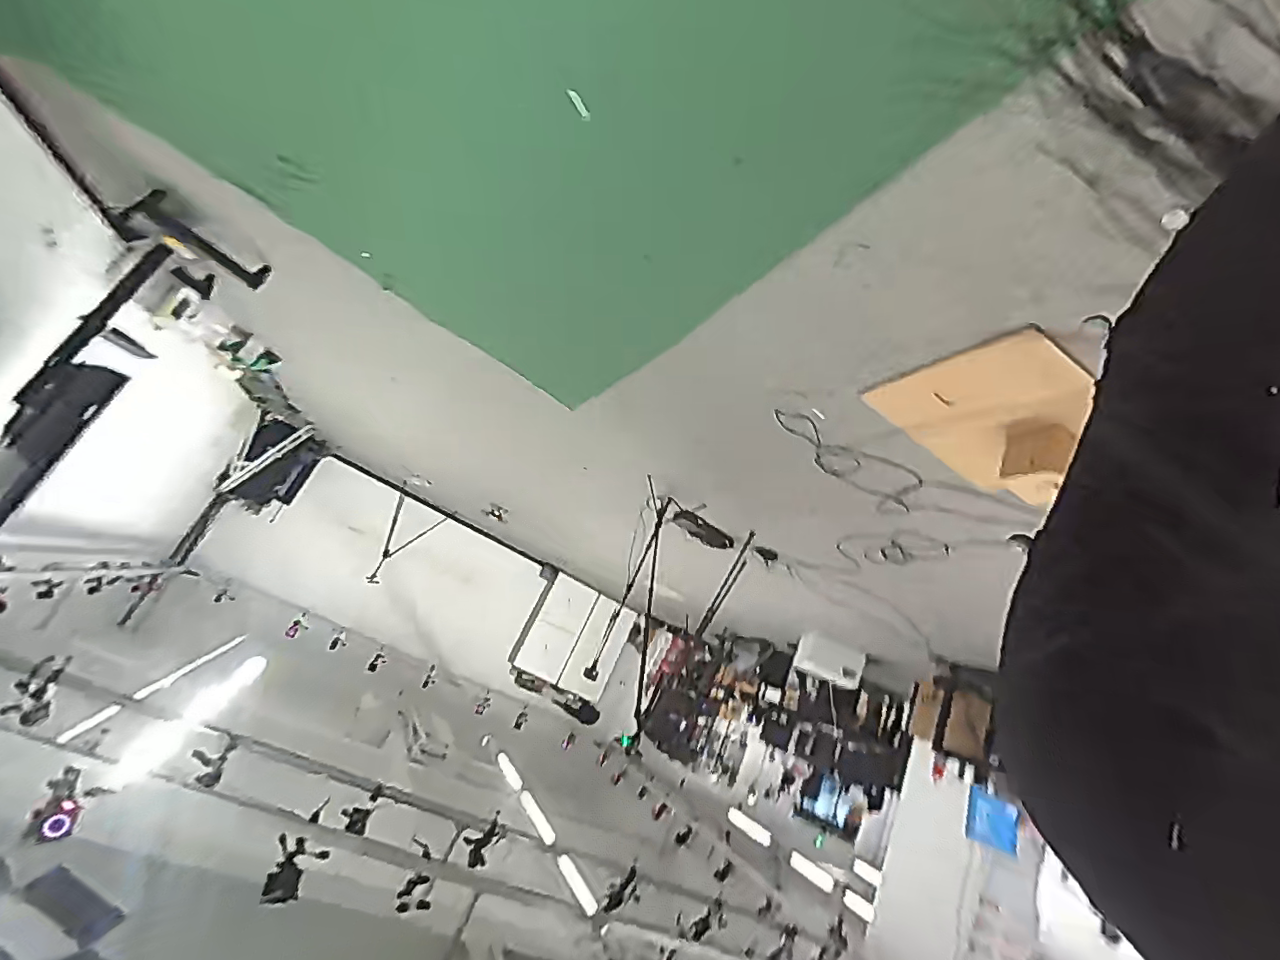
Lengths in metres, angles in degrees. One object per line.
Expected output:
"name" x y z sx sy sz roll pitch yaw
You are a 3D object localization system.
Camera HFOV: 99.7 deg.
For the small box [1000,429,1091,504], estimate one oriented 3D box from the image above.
"small box" 1.296 -0.043 1.723 0.168 0.176 0.179 30 161 -14
